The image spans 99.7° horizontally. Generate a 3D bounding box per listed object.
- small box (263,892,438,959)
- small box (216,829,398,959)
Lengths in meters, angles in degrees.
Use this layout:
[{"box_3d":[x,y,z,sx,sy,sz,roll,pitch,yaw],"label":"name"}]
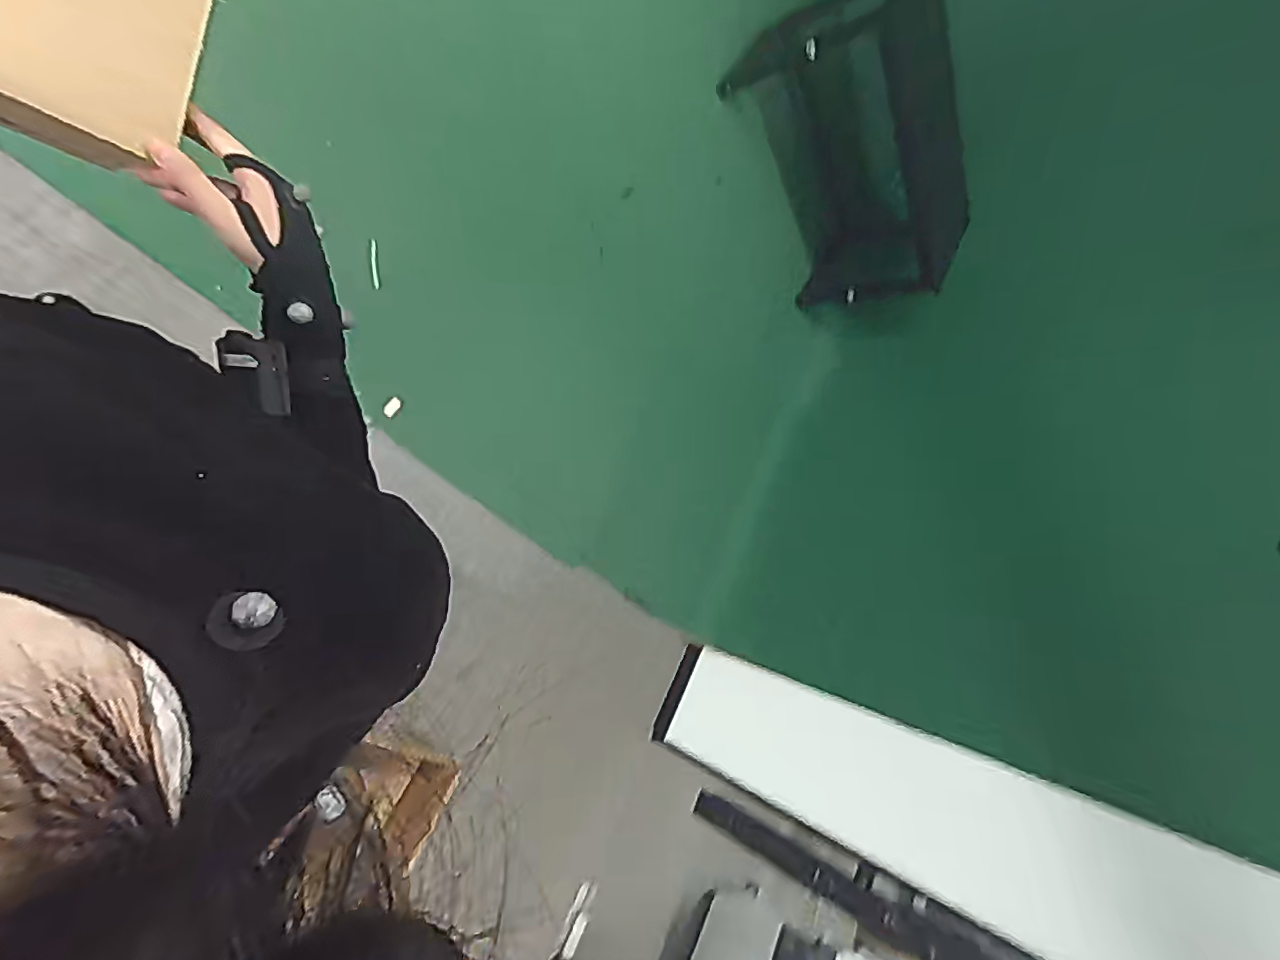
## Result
[{"box_3d":[-0.423,0.711,0.752,0.179,0.176,0.168,42,67,-40],"label":"small box"},{"box_3d":[-0.536,0.691,0.868,0.179,0.176,0.168,38,69,-42],"label":"small box"}]
